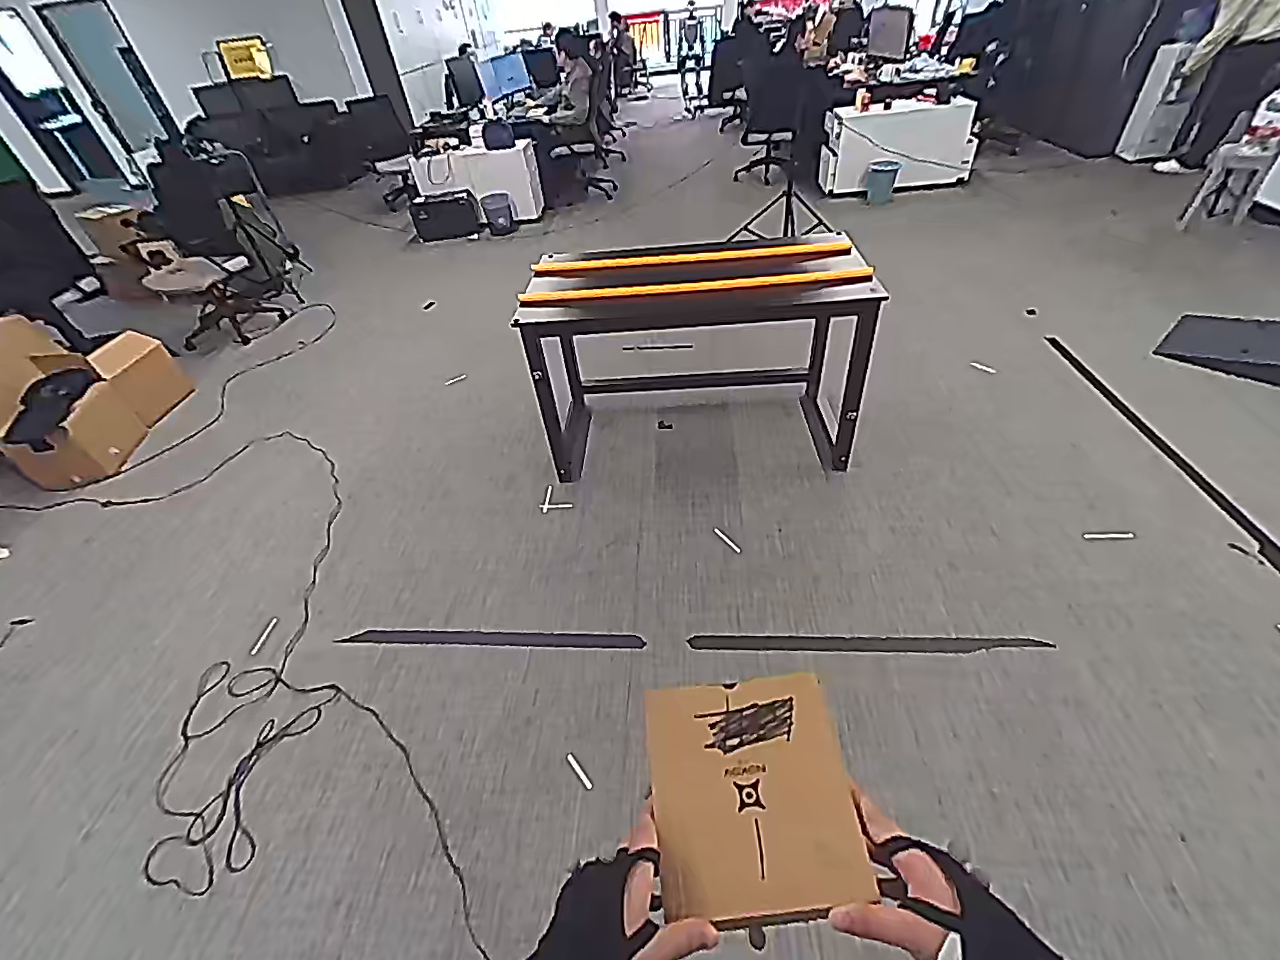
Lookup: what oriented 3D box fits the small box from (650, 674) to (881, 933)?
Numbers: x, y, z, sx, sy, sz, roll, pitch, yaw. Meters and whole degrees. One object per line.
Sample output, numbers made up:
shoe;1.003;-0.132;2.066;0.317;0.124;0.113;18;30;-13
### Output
small box;0.102;0.312;0.522;0.168;0.176;0.179;-8;48;1
